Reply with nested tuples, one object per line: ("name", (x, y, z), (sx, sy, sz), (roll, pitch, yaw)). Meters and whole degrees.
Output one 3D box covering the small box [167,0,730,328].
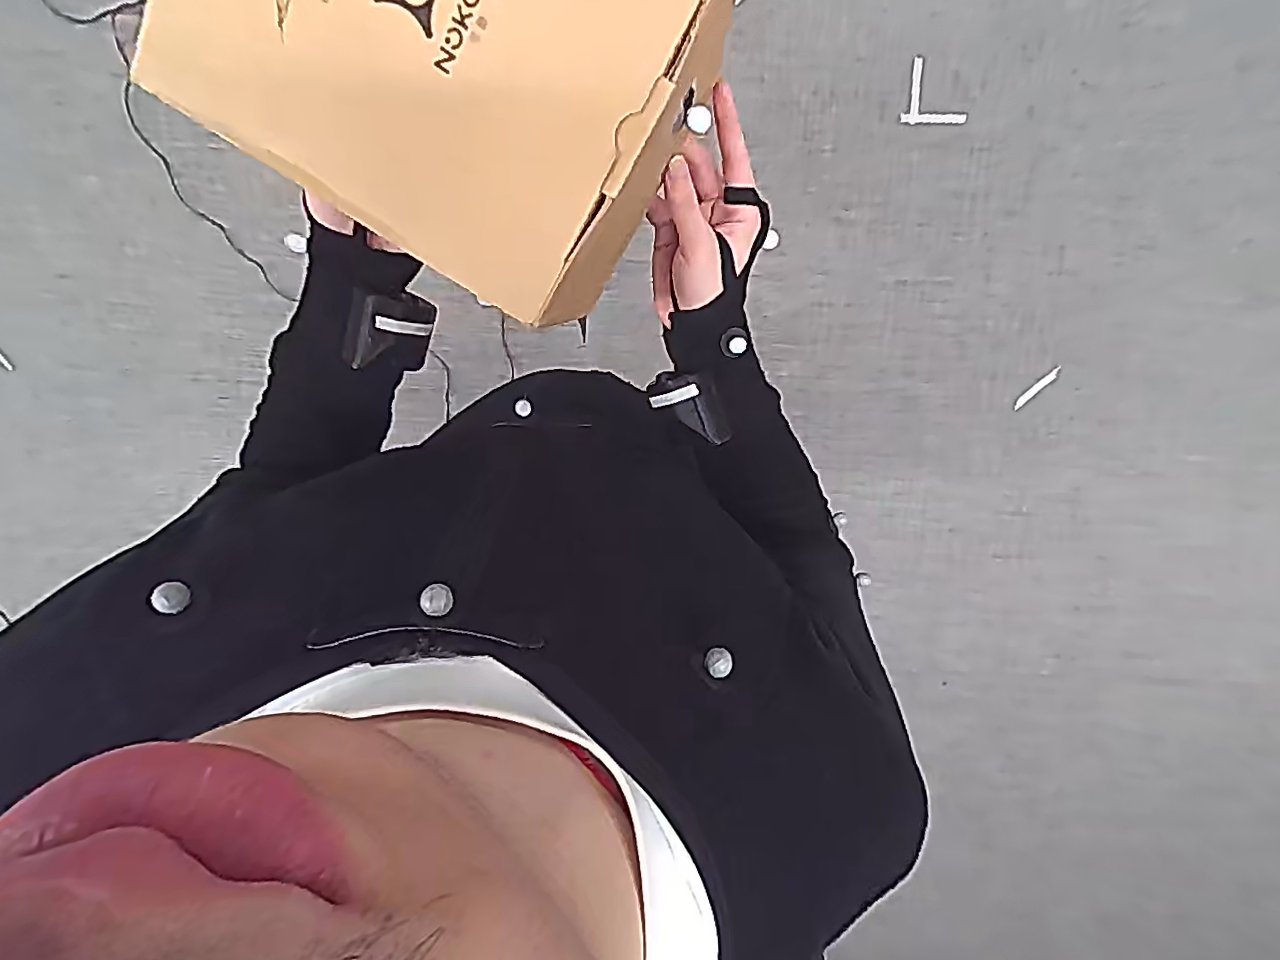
("small box", (-0.070, -0.200, 0.279), (0.179, 0.176, 0.168), (31, 107, -7))
